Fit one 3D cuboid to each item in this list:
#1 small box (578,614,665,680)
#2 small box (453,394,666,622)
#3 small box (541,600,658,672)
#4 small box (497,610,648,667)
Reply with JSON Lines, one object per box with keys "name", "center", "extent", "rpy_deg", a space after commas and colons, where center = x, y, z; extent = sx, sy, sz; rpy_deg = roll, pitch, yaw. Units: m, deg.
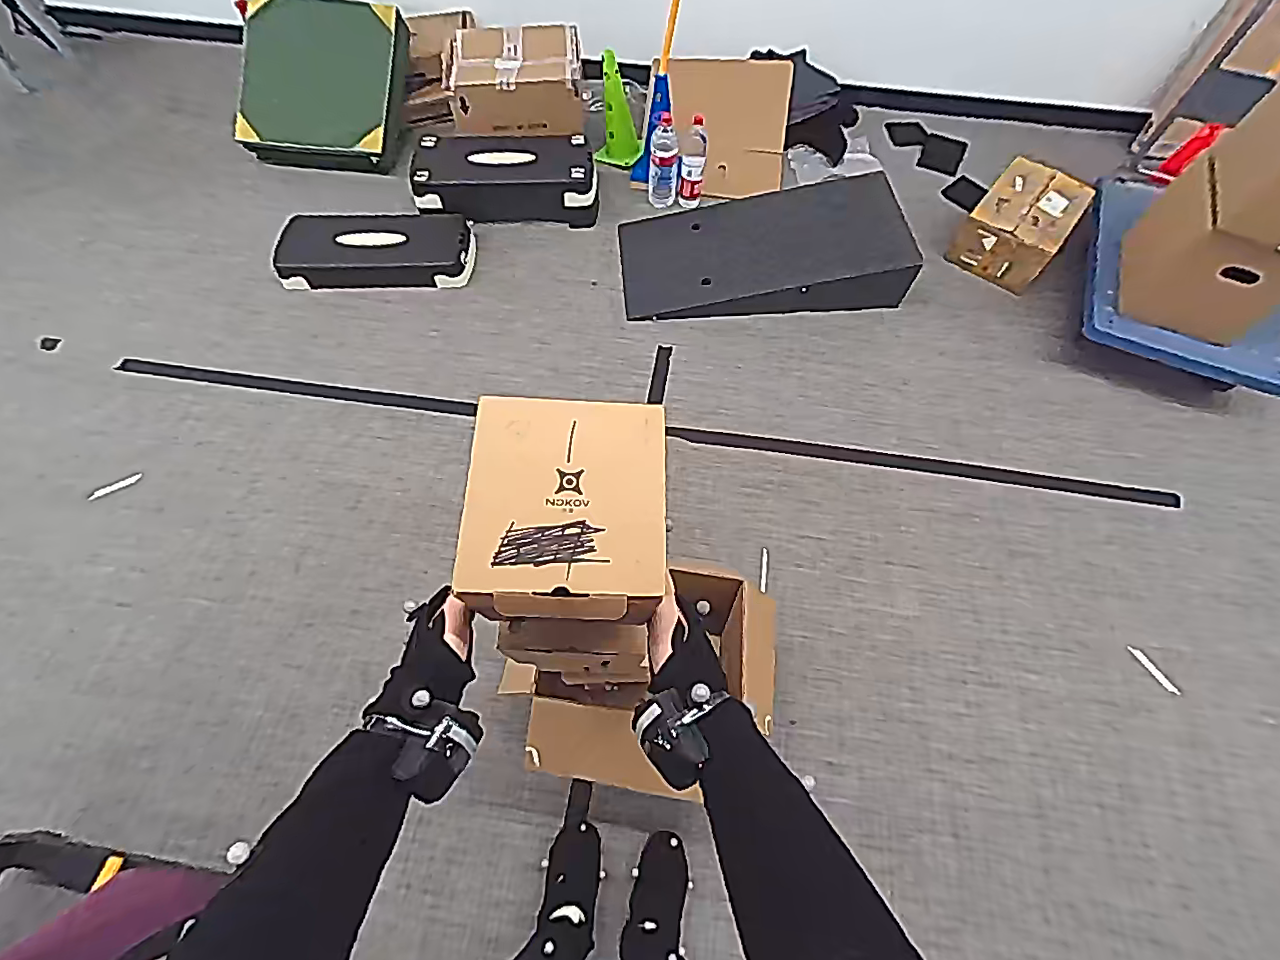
{"name": "small box", "center": [-0.053, 0.322, 1.151], "extent": [0.179, 0.176, 0.168], "rpy_deg": [-9, 67, -9]}
{"name": "small box", "center": [-0.066, 0.039, 0.521], "extent": [0.168, 0.176, 0.179], "rpy_deg": [3, 68, -4]}
{"name": "small box", "center": [-0.065, 0.206, 0.842], "extent": [0.179, 0.176, 0.168], "rpy_deg": [4, 67, -3]}
{"name": "small box", "center": [-0.074, 0.140, 0.693], "extent": [0.168, 0.176, 0.179], "rpy_deg": [5, 66, -3]}
